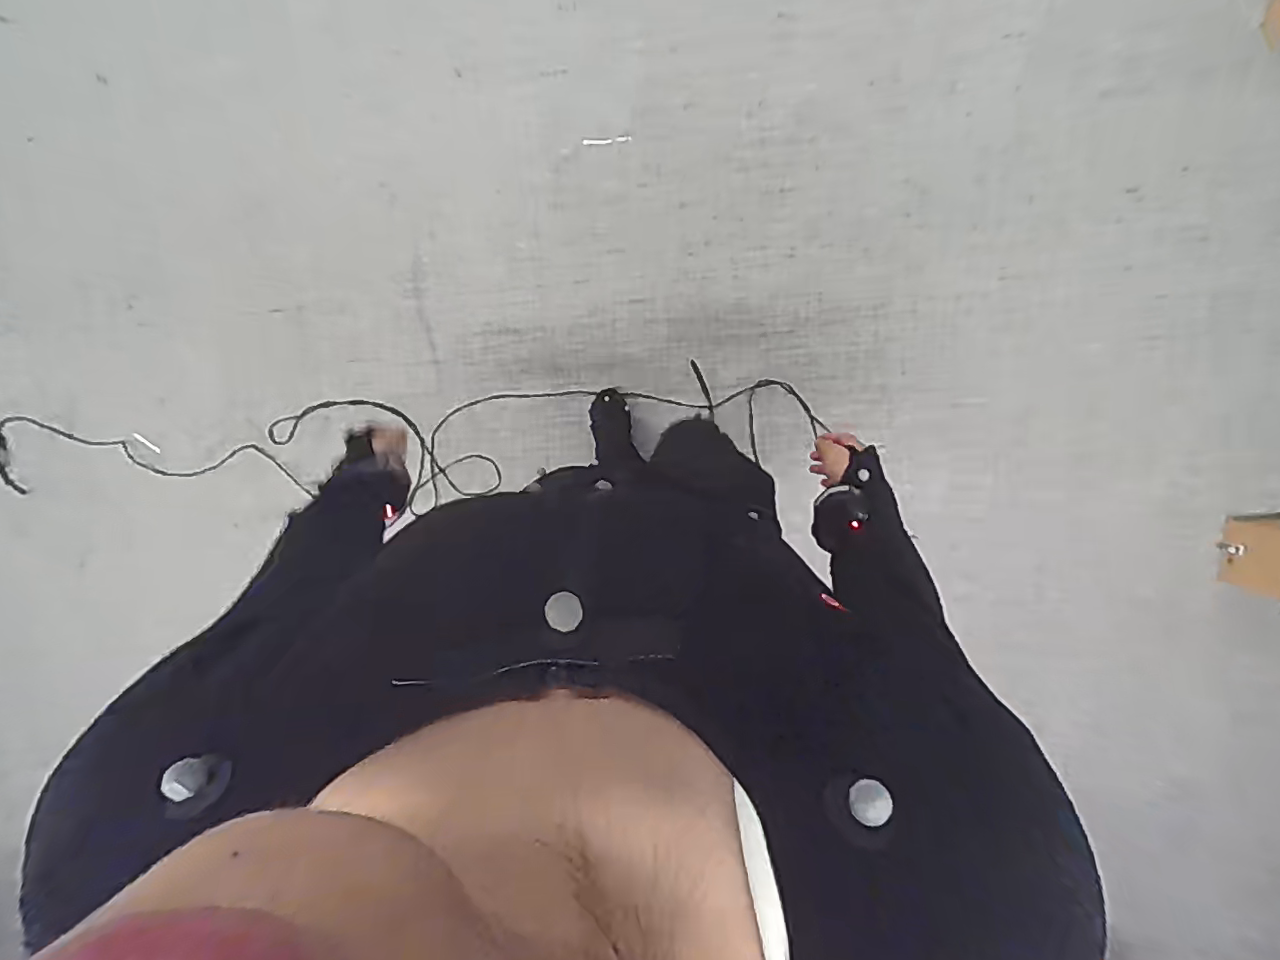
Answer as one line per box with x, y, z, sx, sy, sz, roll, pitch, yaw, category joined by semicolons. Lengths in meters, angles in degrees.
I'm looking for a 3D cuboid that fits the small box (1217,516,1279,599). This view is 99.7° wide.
1.584;0.185;1.315;0.179;0.176;0.168;-3;98;6;small box
